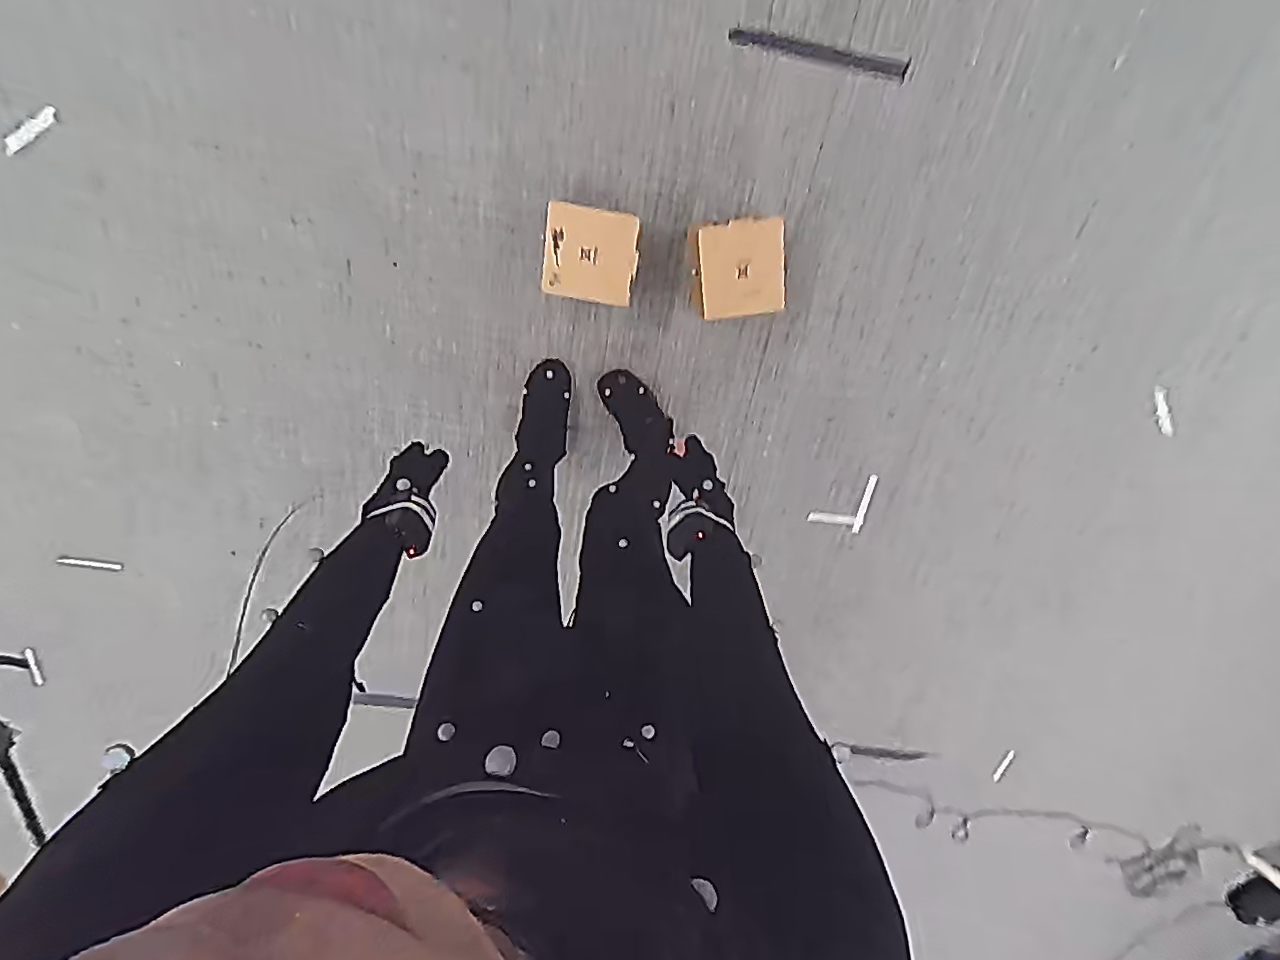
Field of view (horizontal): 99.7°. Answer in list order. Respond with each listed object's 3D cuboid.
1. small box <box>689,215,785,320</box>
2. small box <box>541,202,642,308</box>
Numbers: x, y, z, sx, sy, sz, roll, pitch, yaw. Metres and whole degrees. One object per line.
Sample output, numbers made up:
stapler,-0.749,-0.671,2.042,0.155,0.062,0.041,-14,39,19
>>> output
small box,0.197,-0.443,1.127,0.168,0.176,0.179,-8,115,2
small box,-0.098,-0.459,1.103,0.179,0.176,0.168,8,113,-7
